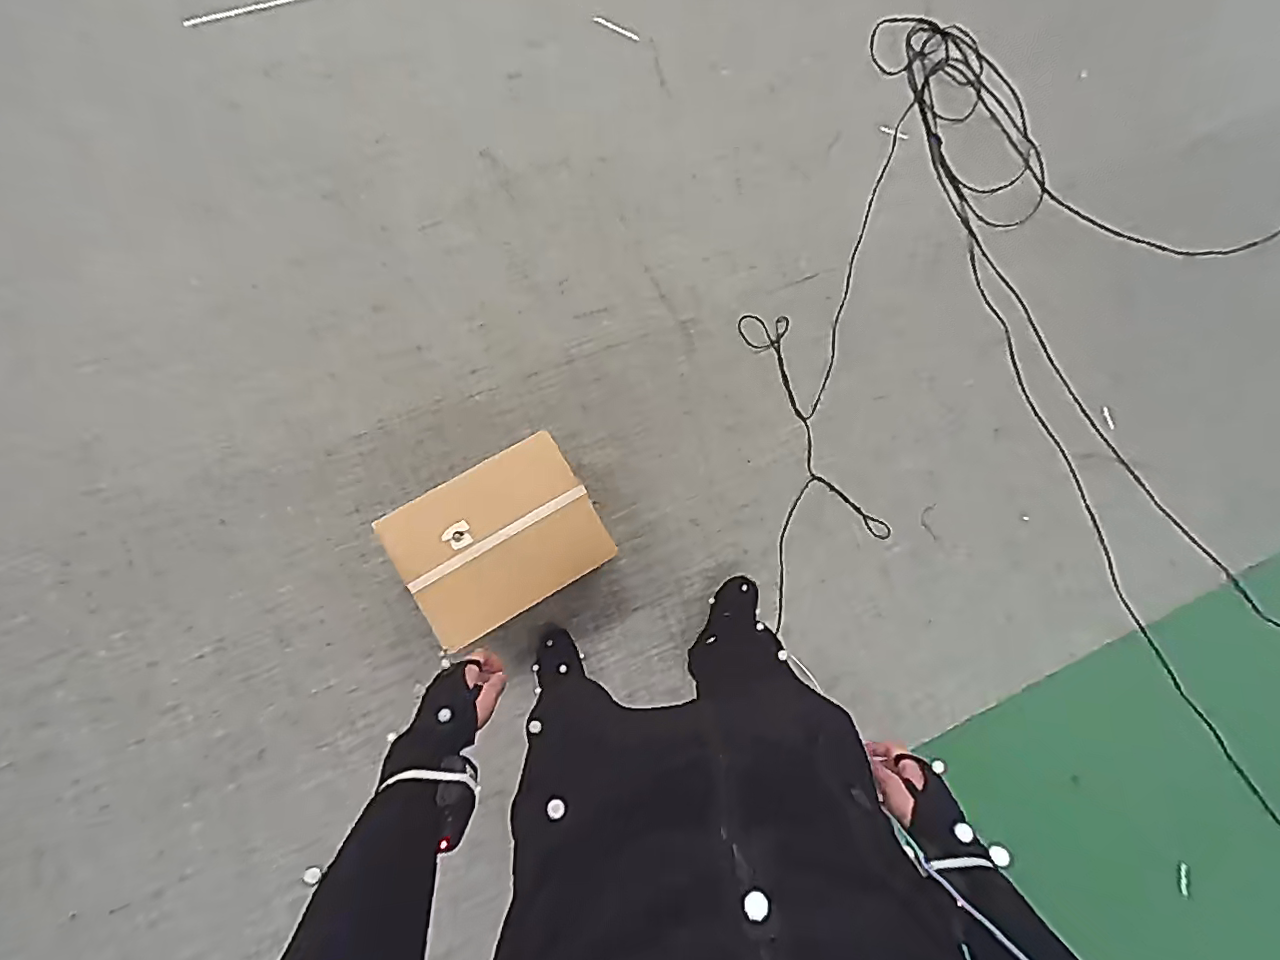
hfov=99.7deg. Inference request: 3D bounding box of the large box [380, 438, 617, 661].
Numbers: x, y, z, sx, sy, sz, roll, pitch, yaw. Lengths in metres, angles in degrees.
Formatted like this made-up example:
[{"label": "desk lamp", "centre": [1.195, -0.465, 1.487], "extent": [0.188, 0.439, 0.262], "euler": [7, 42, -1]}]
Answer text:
[{"label": "large box", "centre": [-0.304, 0.152, 1.275], "extent": [0.408, 0.320, 0.320], "euler": [-31, 86, -8]}]
